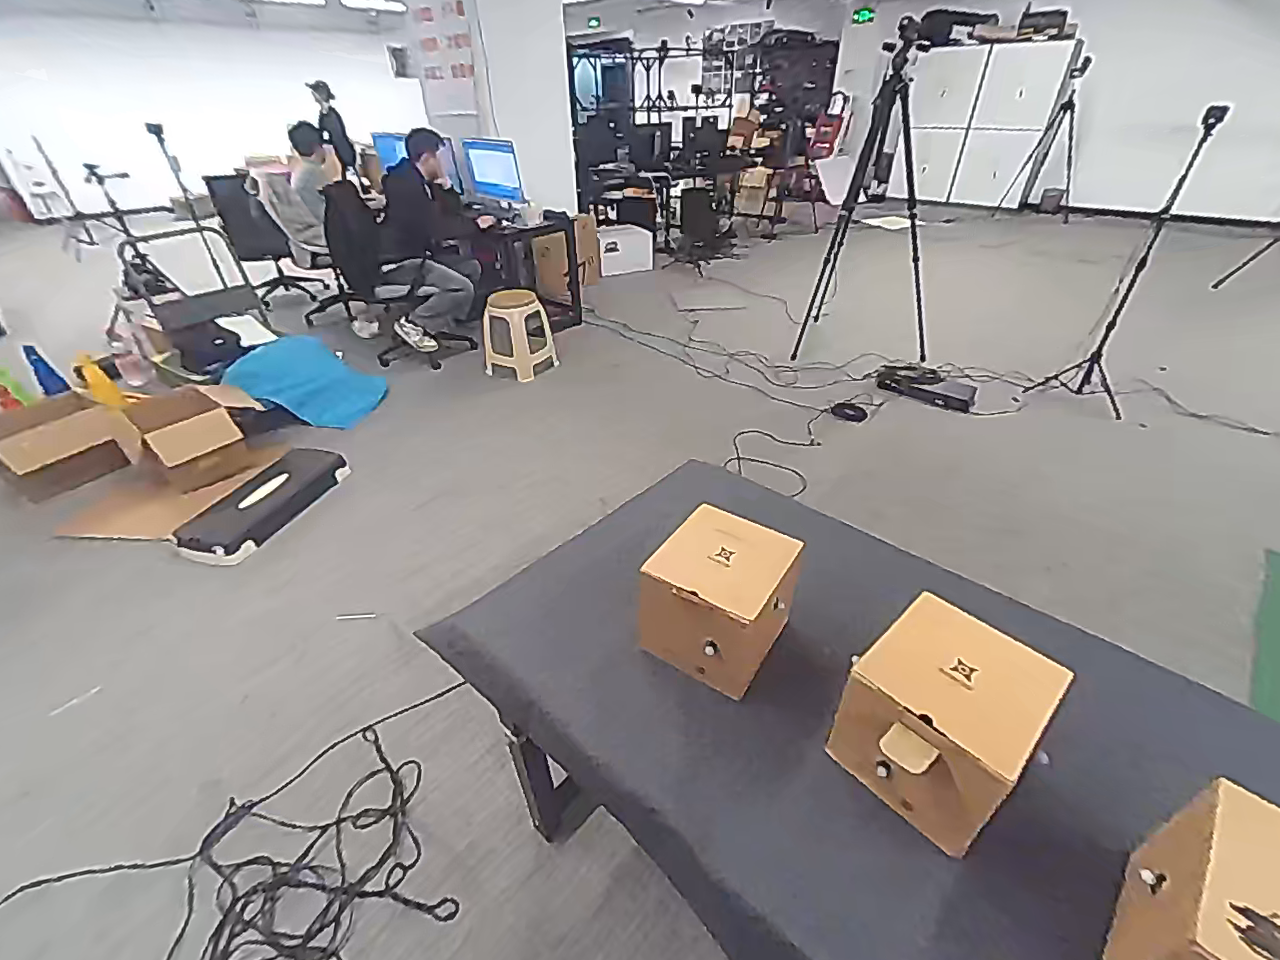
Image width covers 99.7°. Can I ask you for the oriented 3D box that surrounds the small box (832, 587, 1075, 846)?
[{"bbox_3d":[0.346,0.265,0.623,0.179,0.176,0.168,-28,44,-32],"label":"small box"}]

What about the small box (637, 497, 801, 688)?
[{"bbox_3d":[0.111,0.159,0.776,0.168,0.176,0.179,22,40,27],"label":"small box"}]
